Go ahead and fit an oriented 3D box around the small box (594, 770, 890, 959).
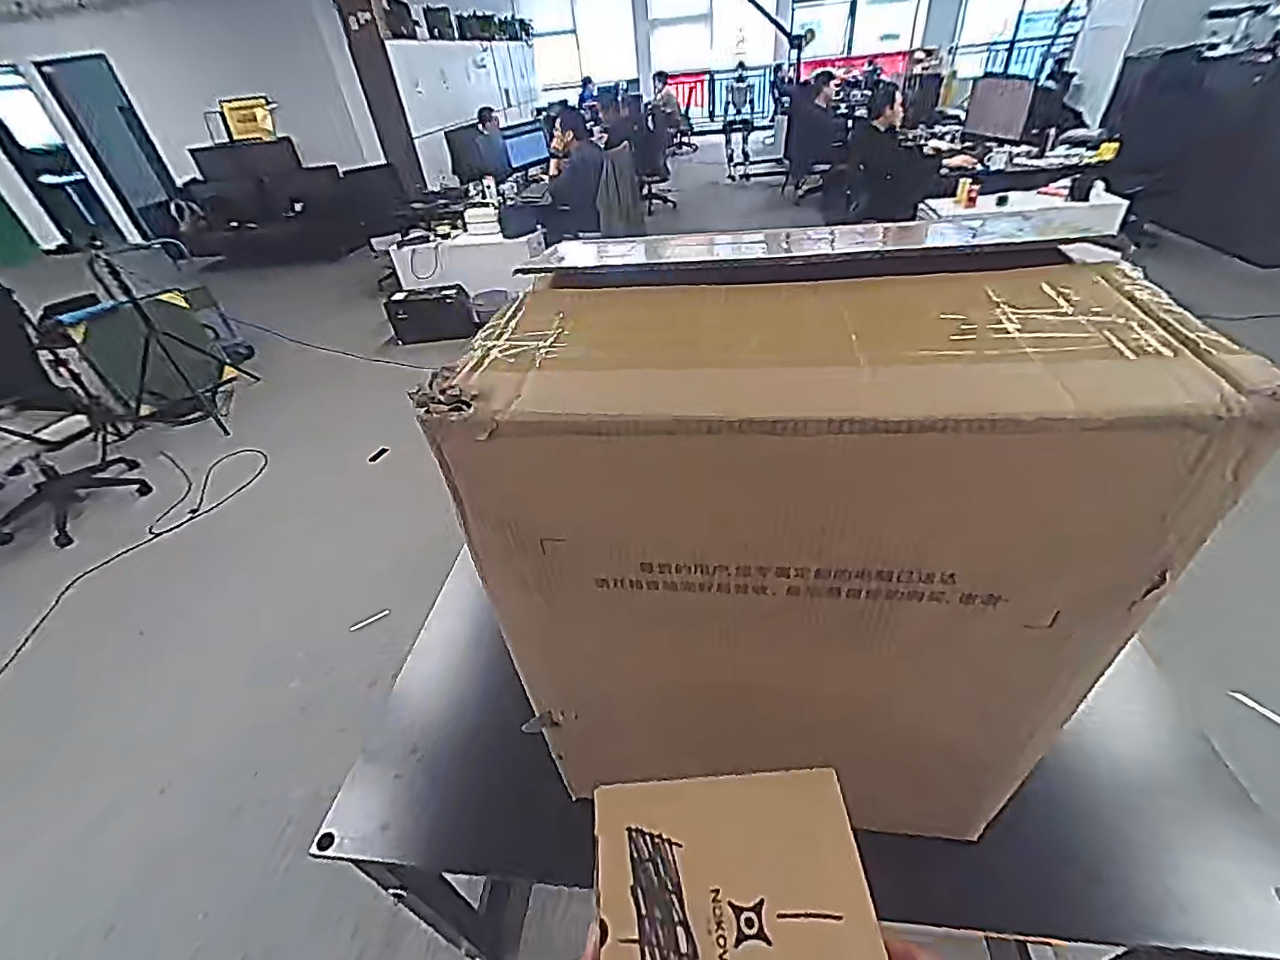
[{"bbox_3d":[0.063,0.328,0.387,0.179,0.176,0.168,-4,45,-1],"label":"small box"}]
